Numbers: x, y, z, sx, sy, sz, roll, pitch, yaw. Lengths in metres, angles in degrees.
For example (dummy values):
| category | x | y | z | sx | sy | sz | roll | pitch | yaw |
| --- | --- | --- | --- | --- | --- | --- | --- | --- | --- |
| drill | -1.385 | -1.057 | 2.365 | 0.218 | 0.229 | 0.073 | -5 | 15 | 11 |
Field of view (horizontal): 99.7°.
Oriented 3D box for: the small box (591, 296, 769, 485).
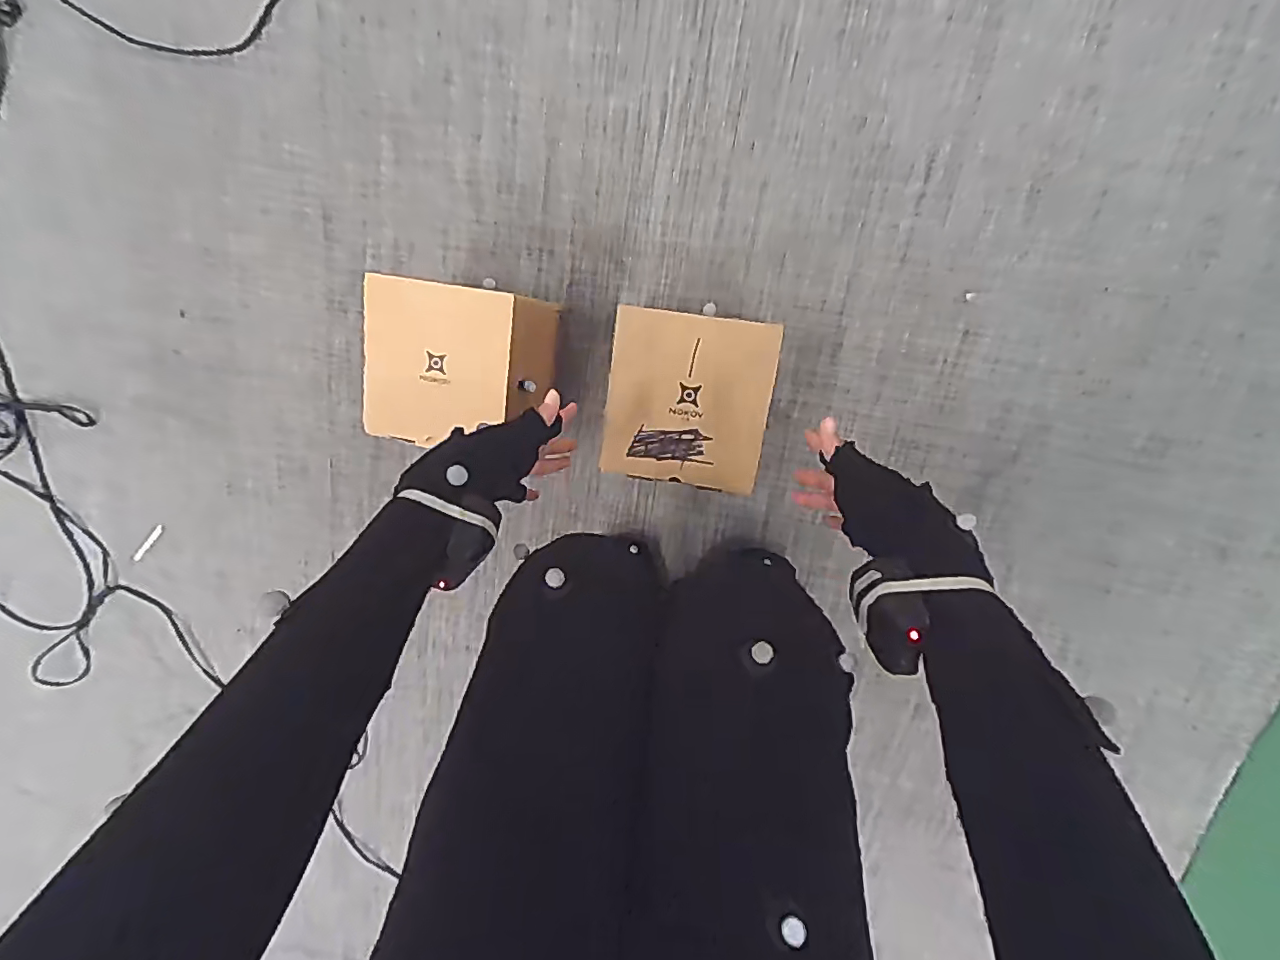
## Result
| category | x | y | z | sx | sy | sz | roll | pitch | yaw |
| --- | --- | --- | --- | --- | --- | --- | --- | --- | --- |
| small box | 0.049 | -0.110 | 0.635 | 0.168 | 0.176 | 0.179 | 9 | 105 | 6 |

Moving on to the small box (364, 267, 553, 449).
| category | x | y | z | sx | sy | sz | roll | pitch | yaw |
| --- | --- | --- | --- | --- | --- | --- | --- | --- | --- |
| small box | -0.212 | -0.151 | 0.666 | 0.168 | 0.176 | 0.179 | 10 | 106 | 6 |
